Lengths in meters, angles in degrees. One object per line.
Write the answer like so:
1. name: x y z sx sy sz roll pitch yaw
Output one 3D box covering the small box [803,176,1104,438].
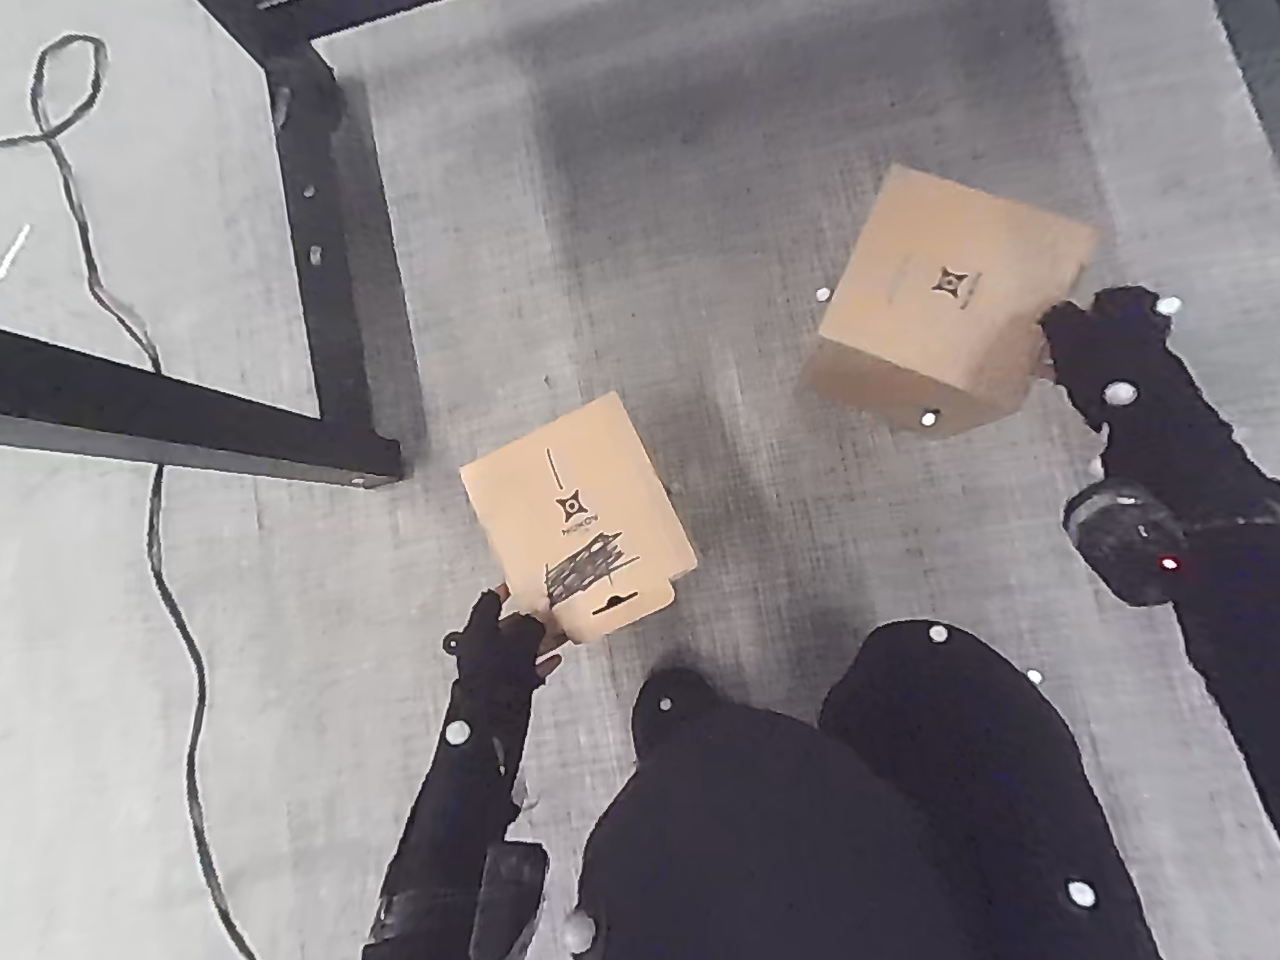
1. small box: 0.281 -0.151 0.534 0.179 0.176 0.168 26 91 12
